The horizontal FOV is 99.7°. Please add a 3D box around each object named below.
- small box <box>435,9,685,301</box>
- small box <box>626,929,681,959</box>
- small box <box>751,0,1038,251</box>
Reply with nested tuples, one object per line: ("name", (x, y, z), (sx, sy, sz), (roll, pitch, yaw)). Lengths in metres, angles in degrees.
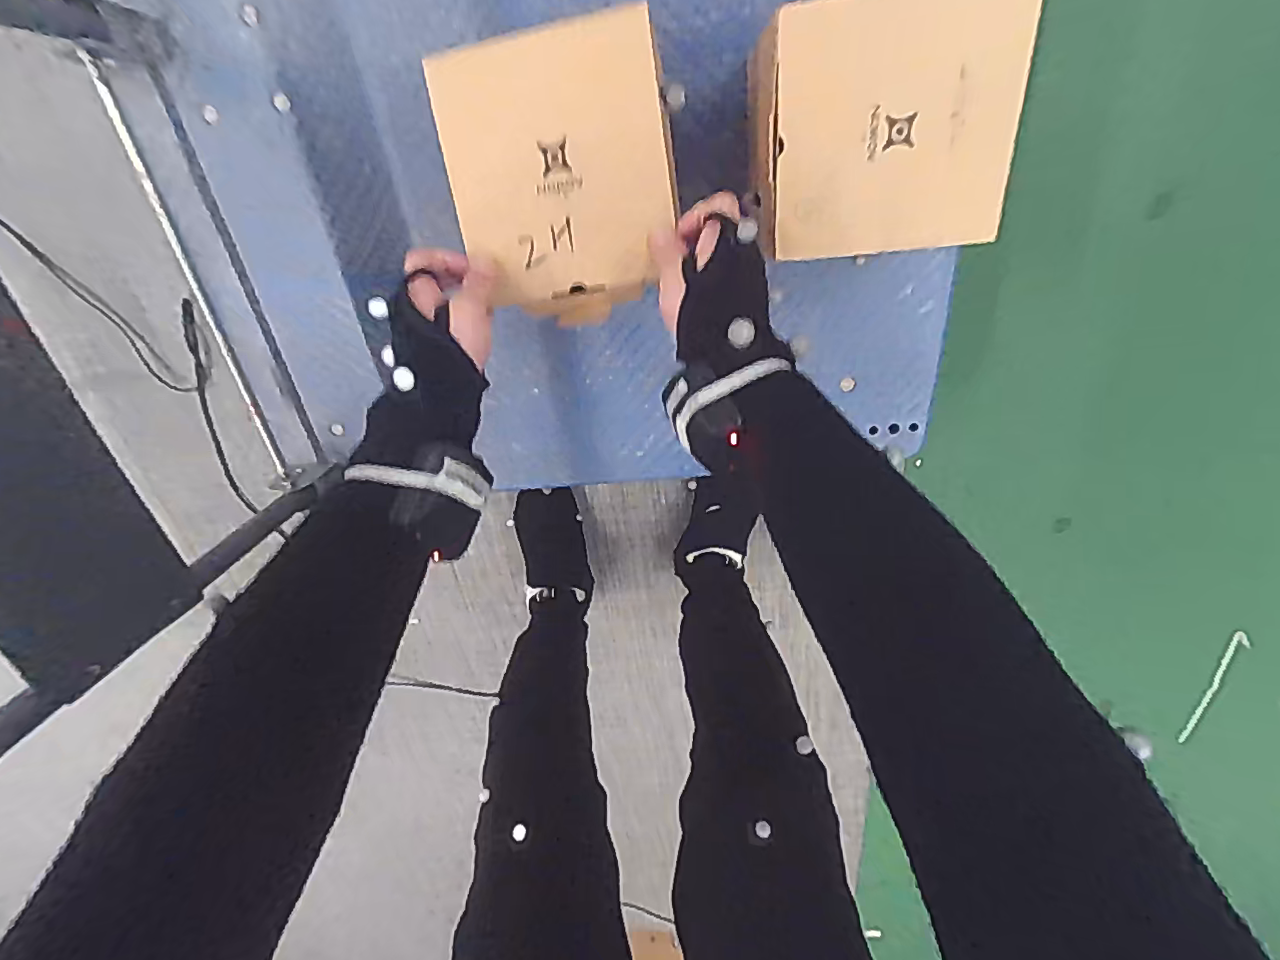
("small box", (-0.050, -0.259, 0.480), (0.168, 0.176, 0.179), (-5, 108, 9))
("small box", (0.041, 1.511, 1.654), (0.168, 0.176, 0.179), (1, 119, 4))
("small box", (0.192, -0.300, 0.473), (0.179, 0.176, 0.168), (-2, 119, 6))
